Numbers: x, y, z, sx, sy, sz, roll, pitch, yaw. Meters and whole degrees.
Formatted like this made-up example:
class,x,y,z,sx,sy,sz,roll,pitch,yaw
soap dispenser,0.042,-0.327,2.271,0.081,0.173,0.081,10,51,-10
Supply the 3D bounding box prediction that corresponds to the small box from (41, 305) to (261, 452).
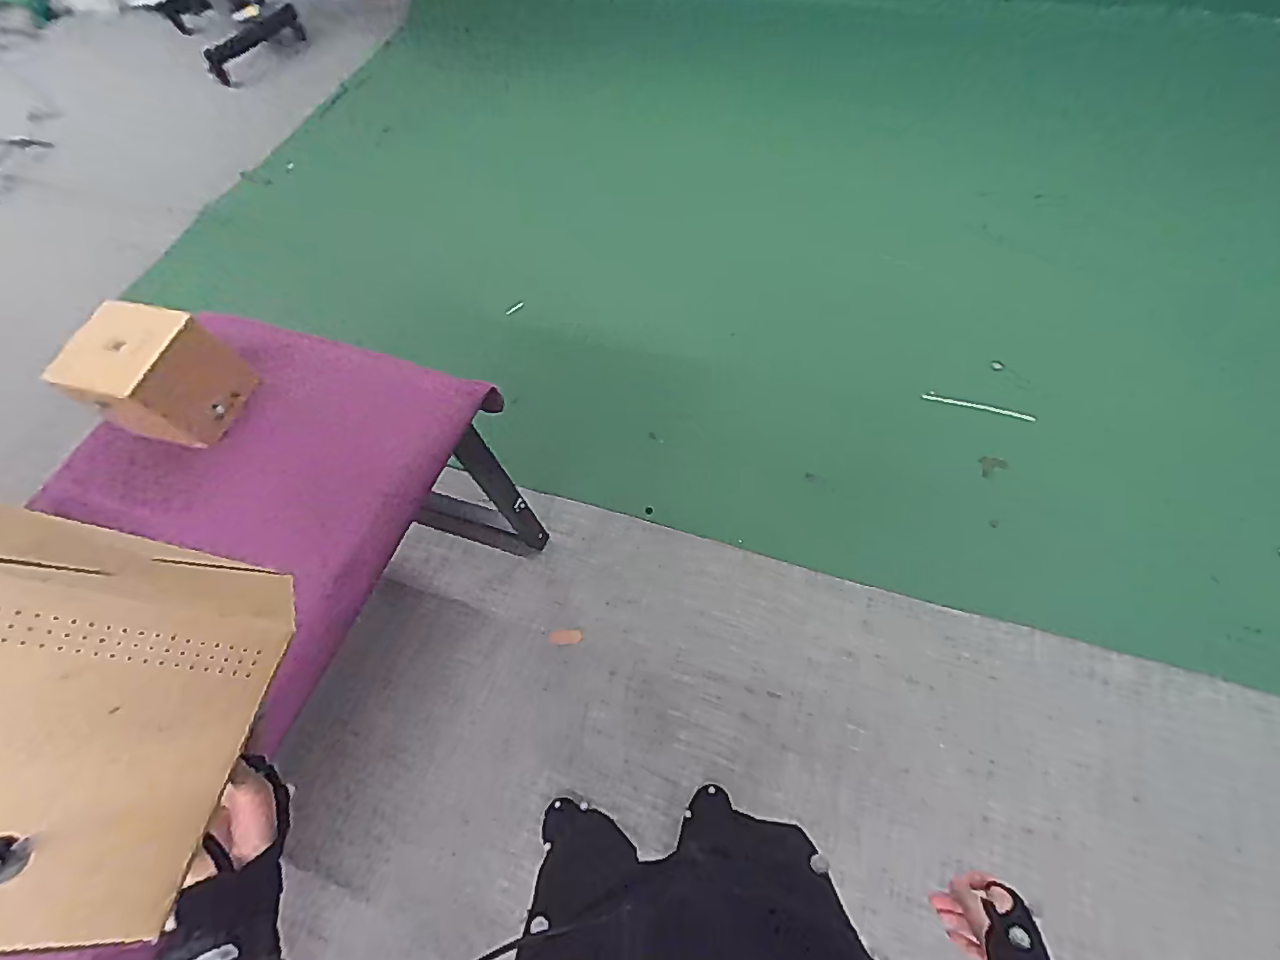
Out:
class,x,y,z,sx,sy,sz,roll,pitch,yaw
small box,-0.804,-0.165,0.910,0.179,0.176,0.168,12,65,11
